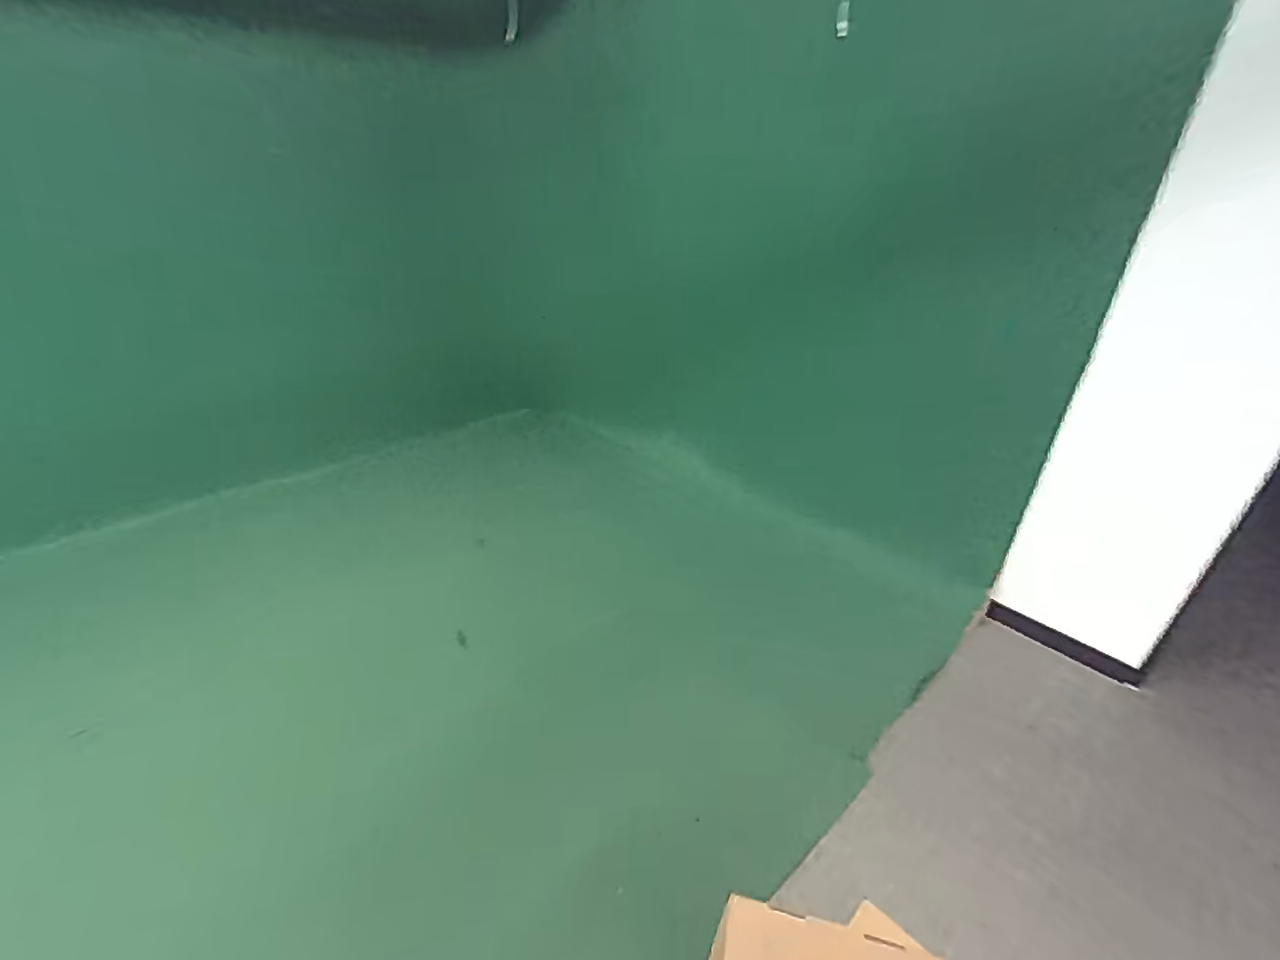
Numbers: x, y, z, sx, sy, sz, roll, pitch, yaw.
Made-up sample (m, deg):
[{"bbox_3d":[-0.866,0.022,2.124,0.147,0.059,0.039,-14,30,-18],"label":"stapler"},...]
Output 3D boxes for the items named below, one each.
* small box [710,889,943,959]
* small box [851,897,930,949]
[{"bbox_3d":[0.128,0.458,0.403,0.168,0.176,0.179,9,36,11],"label":"small box"},{"bbox_3d":[0.326,0.728,0.719,0.179,0.176,0.168,-26,35,-34],"label":"small box"}]
